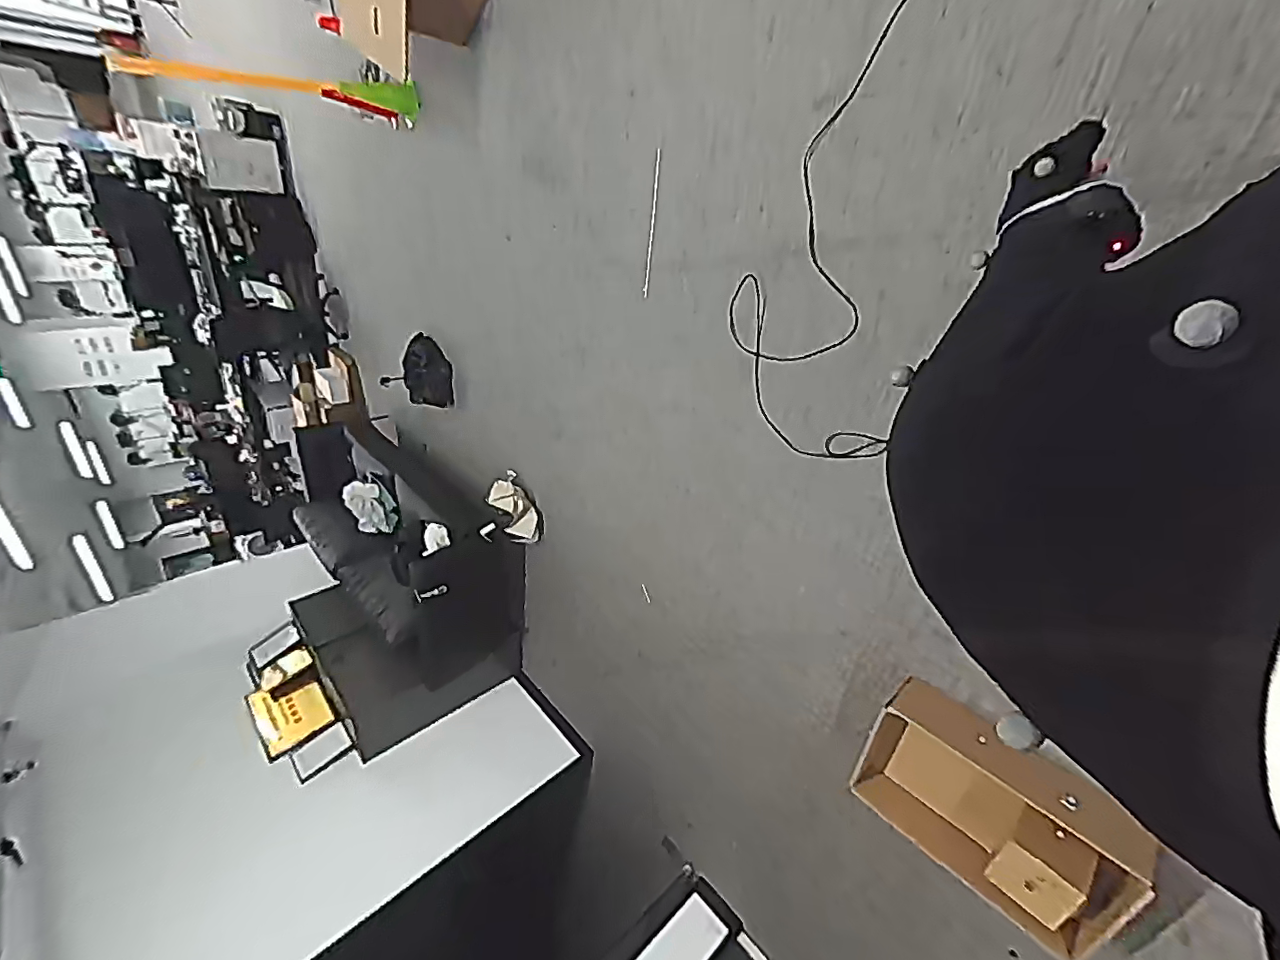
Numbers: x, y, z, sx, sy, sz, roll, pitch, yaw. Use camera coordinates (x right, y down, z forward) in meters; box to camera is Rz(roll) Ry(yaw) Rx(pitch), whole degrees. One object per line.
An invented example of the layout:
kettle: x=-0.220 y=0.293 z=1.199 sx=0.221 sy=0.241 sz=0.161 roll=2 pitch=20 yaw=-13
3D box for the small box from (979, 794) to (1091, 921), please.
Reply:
small box: x=1.023 y=0.967 z=1.397 sx=0.168 sy=0.176 sz=0.179 roll=31 pitch=128 yaw=37
